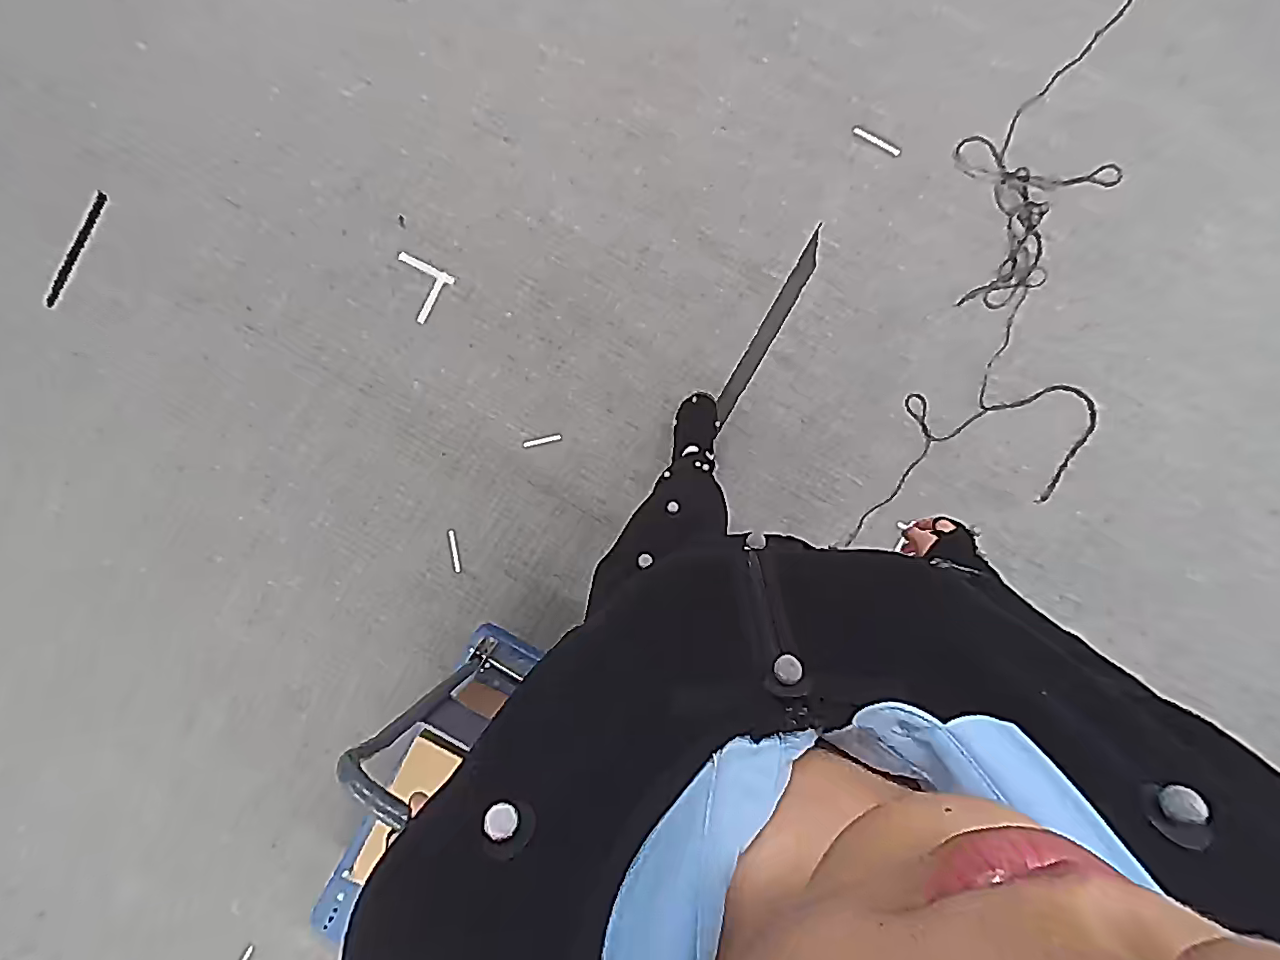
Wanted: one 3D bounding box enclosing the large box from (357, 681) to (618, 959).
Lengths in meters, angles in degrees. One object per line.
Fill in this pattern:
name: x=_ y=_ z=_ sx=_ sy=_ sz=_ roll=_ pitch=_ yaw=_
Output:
large box: x=-0.300 y=0.711 z=1.187 sx=0.408 sy=0.320 sz=0.320 roll=26 pitch=90 yaw=3
